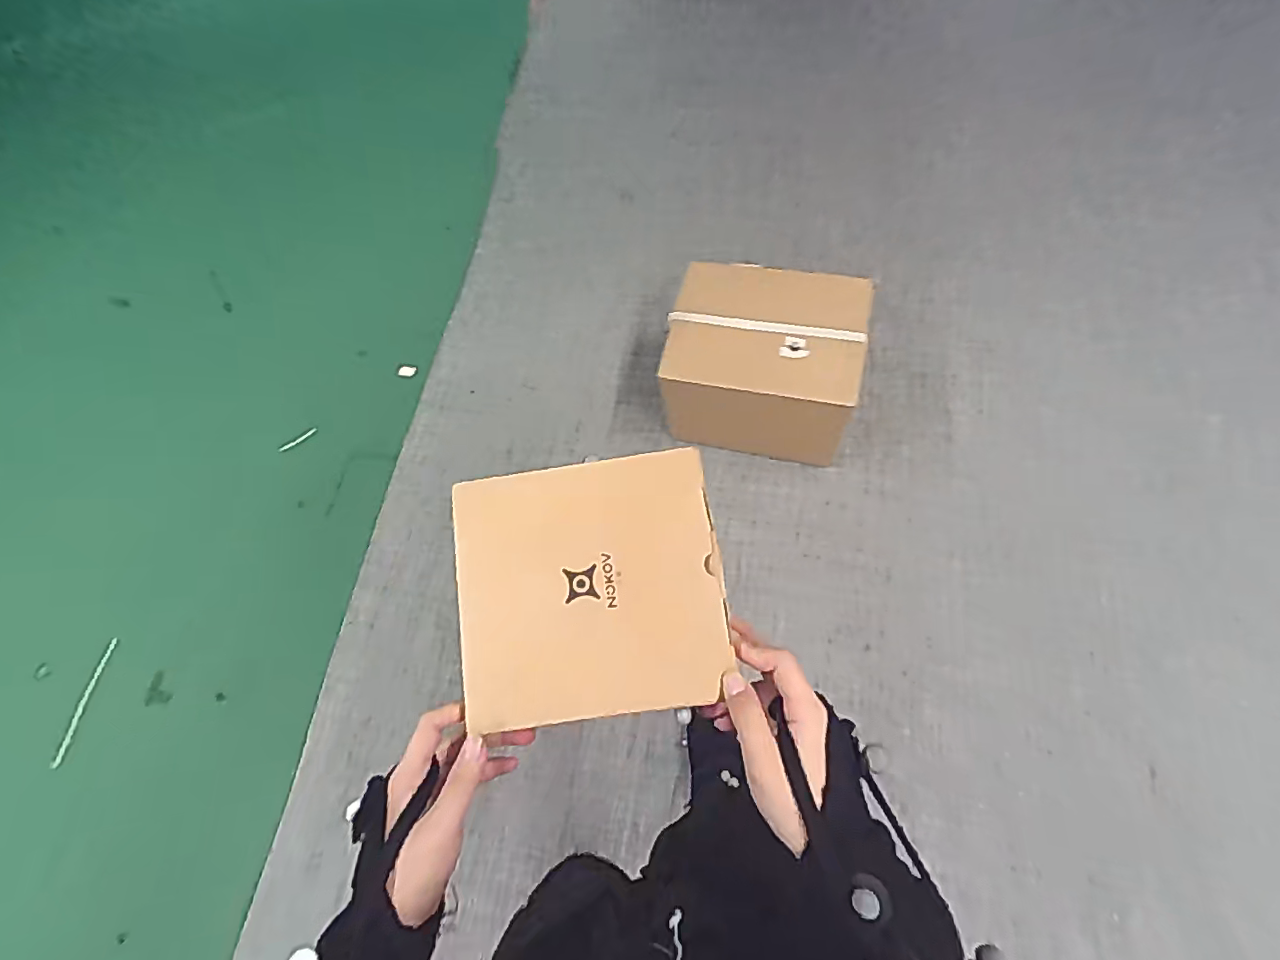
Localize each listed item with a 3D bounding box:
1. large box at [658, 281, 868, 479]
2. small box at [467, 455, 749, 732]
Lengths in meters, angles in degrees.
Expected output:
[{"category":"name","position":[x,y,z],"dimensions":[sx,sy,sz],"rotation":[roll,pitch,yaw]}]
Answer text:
[{"category":"large box","position":[0.279,-0.228,1.282],"dimensions":[0.408,0.320,0.320],"rotation":[11,70,12]},{"category":"small box","position":[-0.022,0.093,0.431],"dimensions":[0.179,0.176,0.168],"rotation":[-7,74,1]}]
